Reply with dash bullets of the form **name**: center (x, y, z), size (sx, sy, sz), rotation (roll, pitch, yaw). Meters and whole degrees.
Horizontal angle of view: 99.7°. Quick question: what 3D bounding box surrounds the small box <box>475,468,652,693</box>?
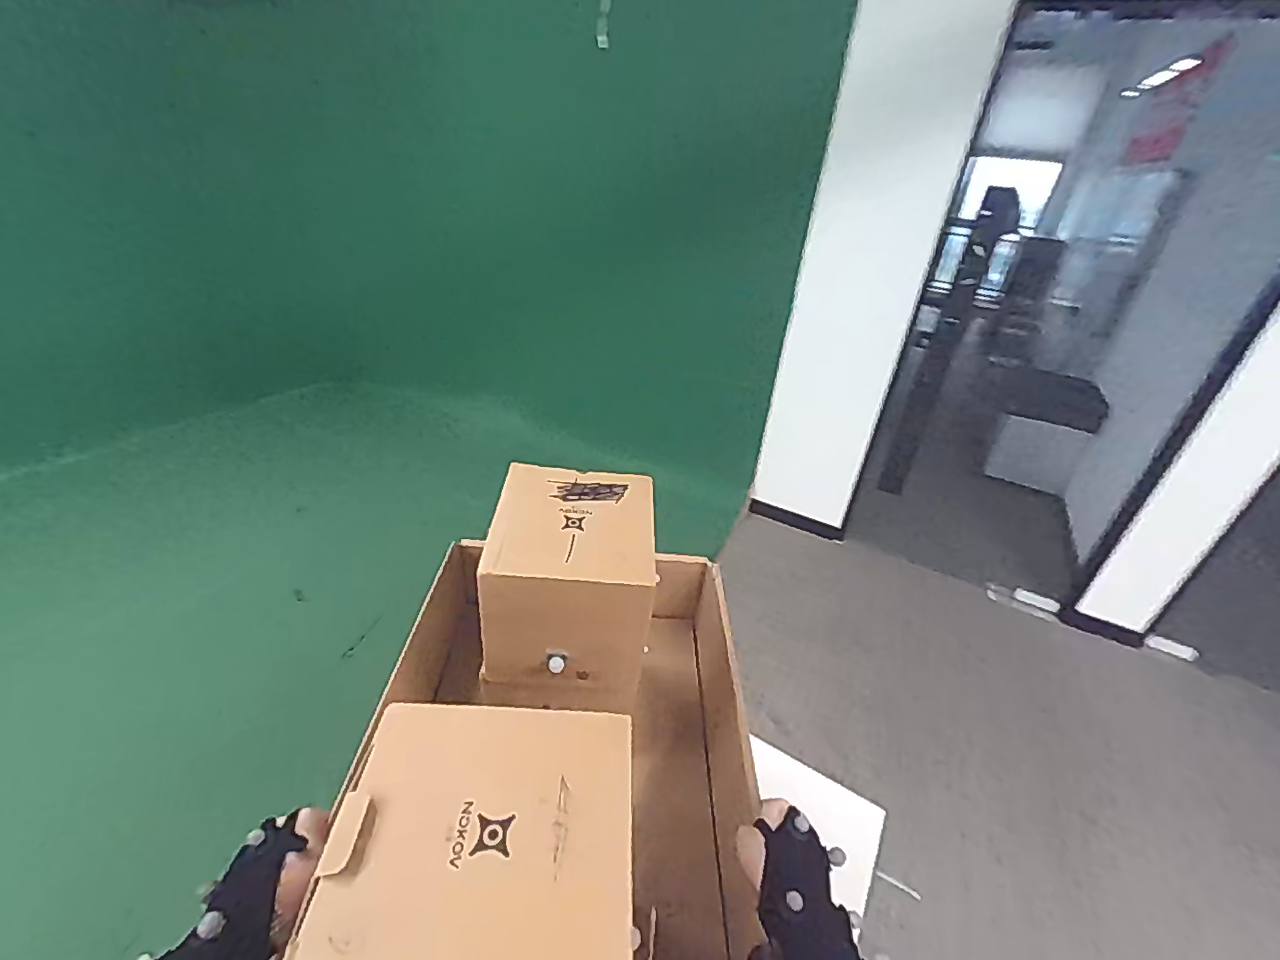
- **small box**: center (-0.080, 0.109, 0.606), size (0.168, 0.176, 0.179), rotation (5, 37, -5)

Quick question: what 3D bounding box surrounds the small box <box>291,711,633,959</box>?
- **small box**: center (-0.101, 0.282, 0.369), size (0.179, 0.176, 0.168), rotation (5, 36, -6)
